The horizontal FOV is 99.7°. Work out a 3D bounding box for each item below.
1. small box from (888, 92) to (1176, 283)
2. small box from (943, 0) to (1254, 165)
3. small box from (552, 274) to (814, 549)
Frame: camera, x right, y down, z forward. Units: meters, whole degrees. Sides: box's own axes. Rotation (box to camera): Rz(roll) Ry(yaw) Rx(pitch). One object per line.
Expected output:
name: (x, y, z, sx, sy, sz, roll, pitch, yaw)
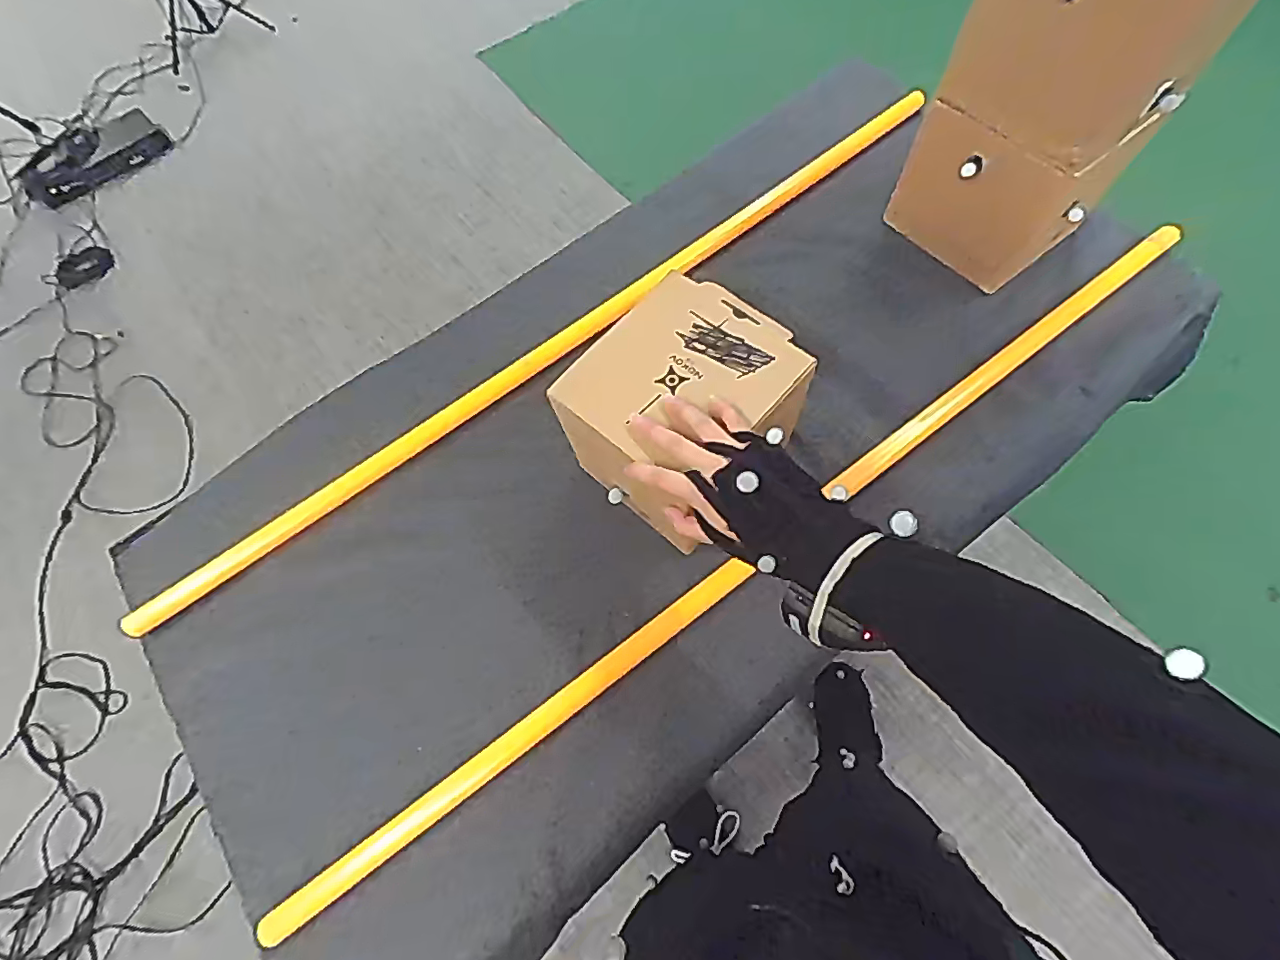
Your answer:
small box: (0.434, -0.363, 0.636, 0.168, 0.176, 0.179, -37, 68, -9)
small box: (0.421, -0.430, 0.488, 0.168, 0.176, 0.179, -39, 69, -9)
small box: (0.042, -0.060, 0.546, 0.168, 0.176, 0.179, 39, 76, 19)
